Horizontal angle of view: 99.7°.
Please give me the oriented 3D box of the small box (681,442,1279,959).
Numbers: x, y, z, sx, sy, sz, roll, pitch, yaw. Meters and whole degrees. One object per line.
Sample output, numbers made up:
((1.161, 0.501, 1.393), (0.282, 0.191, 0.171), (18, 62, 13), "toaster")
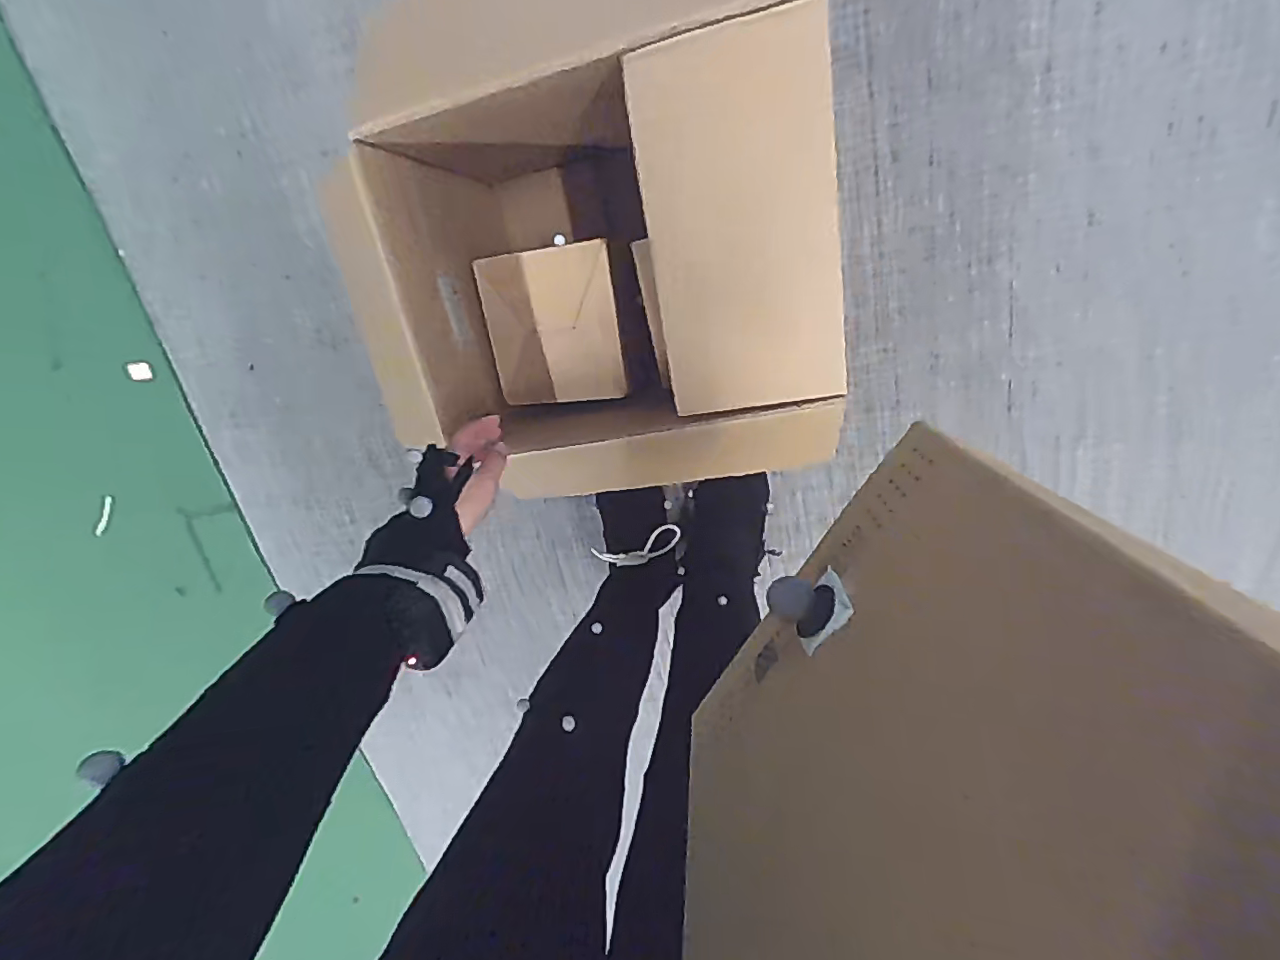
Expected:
((0.127, 0.108, 0.162), (0.179, 0.176, 0.168), (28, 110, -3), "small box")
